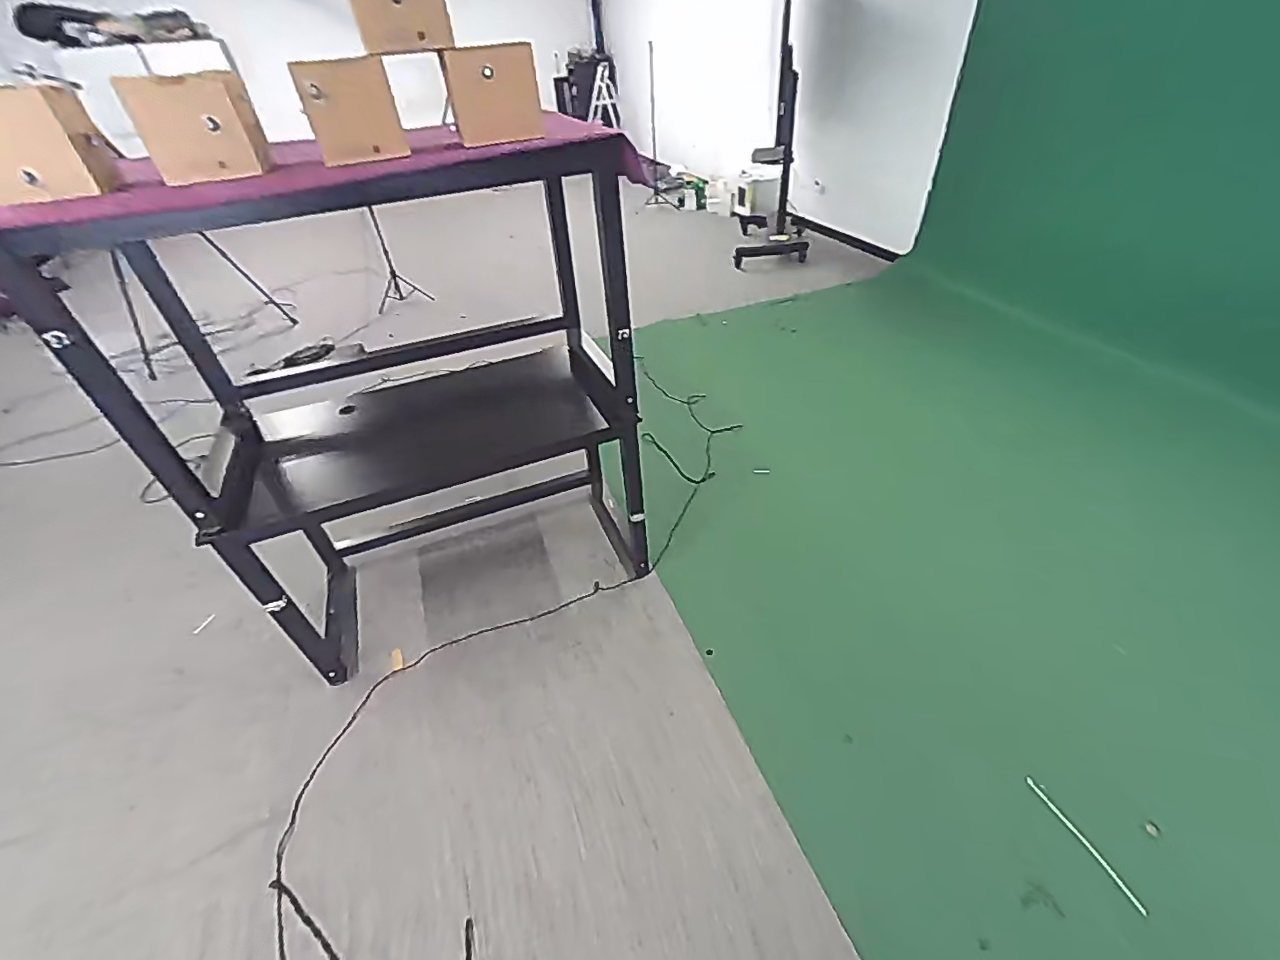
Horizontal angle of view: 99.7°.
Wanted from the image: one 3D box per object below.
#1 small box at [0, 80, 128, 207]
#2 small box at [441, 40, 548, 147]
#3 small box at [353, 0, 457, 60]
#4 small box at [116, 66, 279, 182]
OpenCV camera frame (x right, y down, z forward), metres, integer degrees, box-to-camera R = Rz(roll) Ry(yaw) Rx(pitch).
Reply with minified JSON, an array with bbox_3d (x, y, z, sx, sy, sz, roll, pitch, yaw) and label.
[{"bbox_3d":[-1.079,-0.602,0.963,0.179,0.176,0.168,-17,41,-17],"label":"small box"},{"bbox_3d":[-0.314,-0.834,1.173,0.179,0.176,0.168,-16,40,-14],"label":"small box"},{"bbox_3d":[-0.462,-0.924,1.037,0.168,0.176,0.179,-17,40,-16],"label":"small box"},{"bbox_3d":[-0.827,-0.680,1.036,0.168,0.176,0.179,-15,39,-14],"label":"small box"}]
